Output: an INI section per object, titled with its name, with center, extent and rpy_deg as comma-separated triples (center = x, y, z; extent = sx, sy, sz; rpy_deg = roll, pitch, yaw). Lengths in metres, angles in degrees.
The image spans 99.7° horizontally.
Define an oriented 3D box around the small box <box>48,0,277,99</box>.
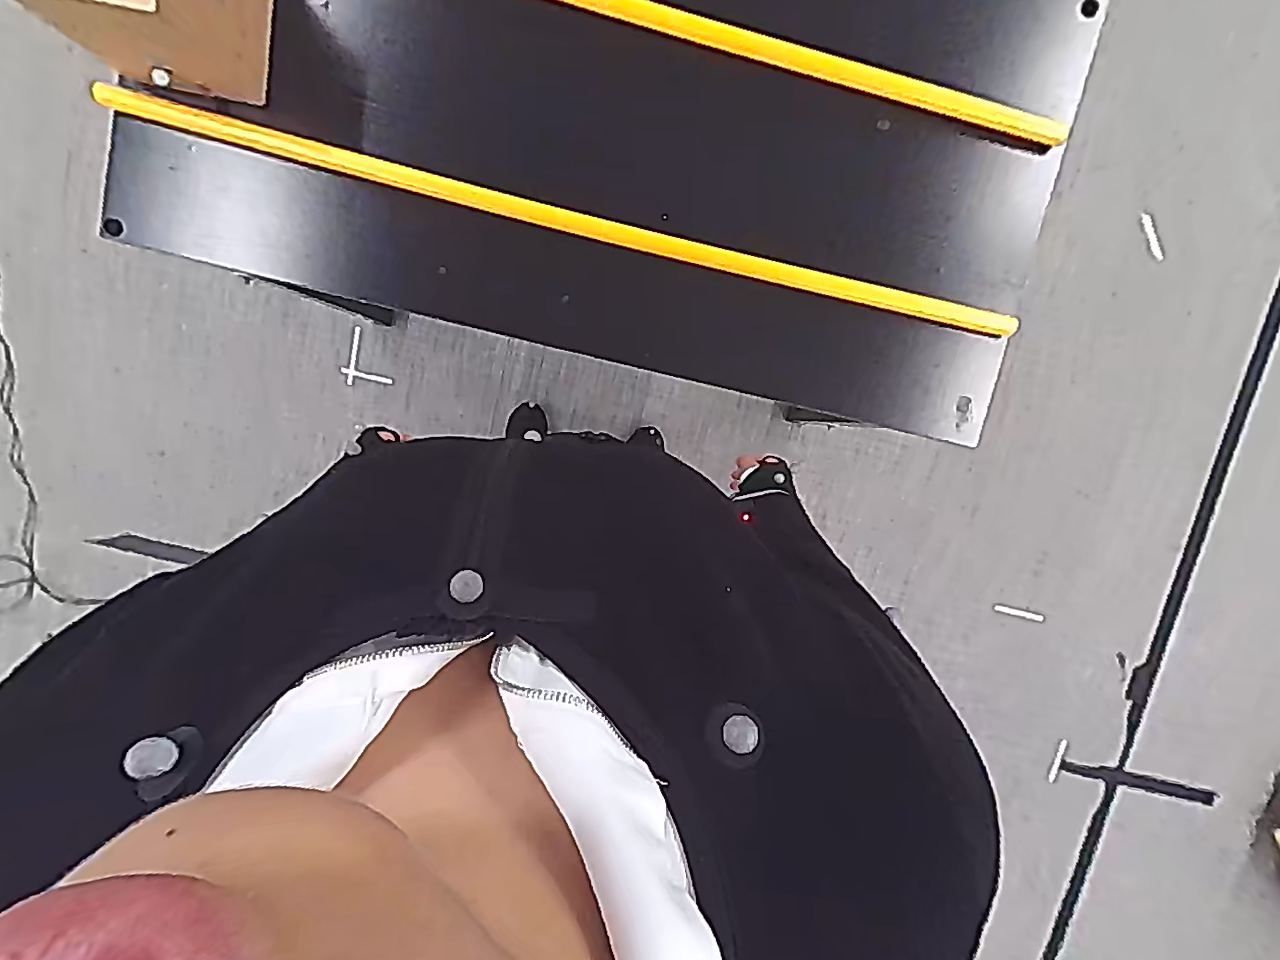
[small box]
center = -0.531, -0.568, 0.590
extent = 0.168, 0.176, 0.179
rpy_deg = 9, 97, -3
